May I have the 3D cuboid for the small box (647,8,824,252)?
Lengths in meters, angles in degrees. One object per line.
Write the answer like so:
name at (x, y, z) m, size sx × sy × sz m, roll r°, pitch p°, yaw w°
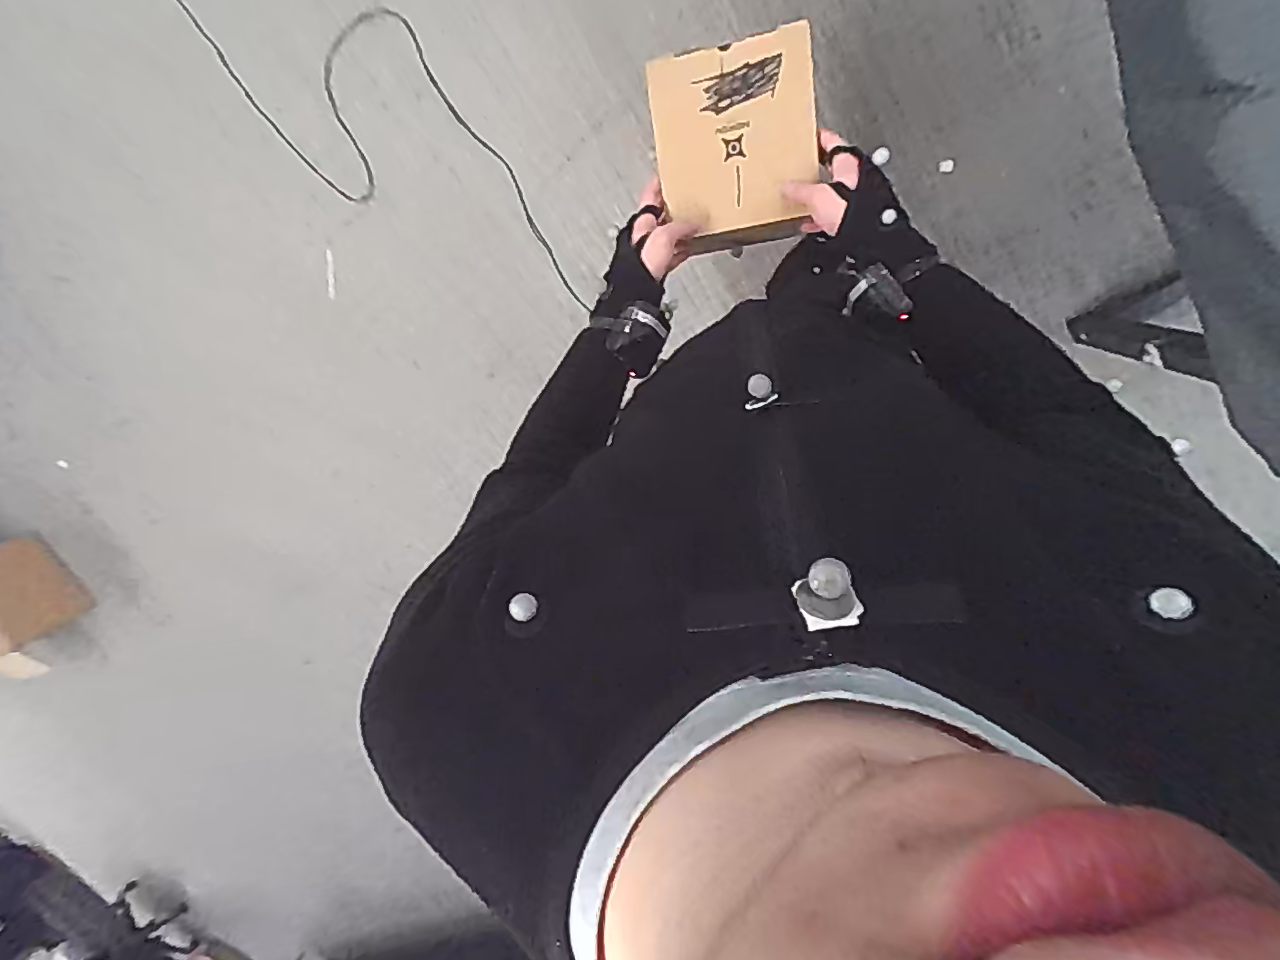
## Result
small box at (0.107, -0.374, 0.616) m, size 0.168 × 0.176 × 0.179 m, roll -6°, pitch 106°, yaw 11°
